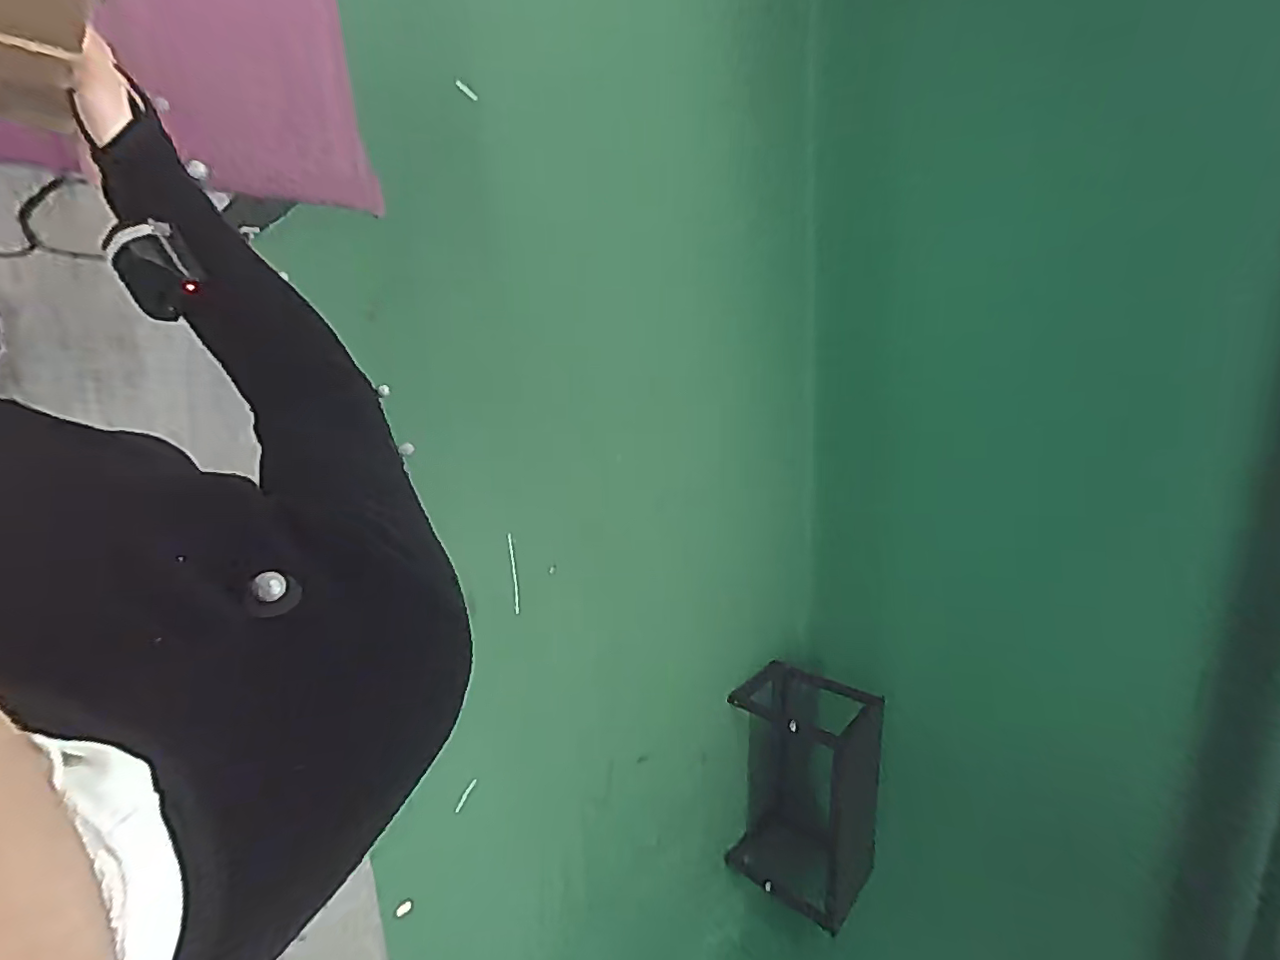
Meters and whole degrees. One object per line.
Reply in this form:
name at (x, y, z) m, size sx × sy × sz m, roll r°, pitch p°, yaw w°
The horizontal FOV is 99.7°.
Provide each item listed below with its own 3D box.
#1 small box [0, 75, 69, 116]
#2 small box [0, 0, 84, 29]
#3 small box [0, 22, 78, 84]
small box at (-0.591, -0.415, 0.429) m, size 0.179 × 0.176 × 0.168 m, roll -10°, pitch 115°, yaw -45°
small box at (-0.359, -0.321, 0.217) m, size 0.179 × 0.176 × 0.168 m, roll -13°, pitch 117°, yaw -42°
small box at (-0.475, -0.368, 0.323) m, size 0.179 × 0.176 × 0.168 m, roll -11°, pitch 116°, yaw -43°
